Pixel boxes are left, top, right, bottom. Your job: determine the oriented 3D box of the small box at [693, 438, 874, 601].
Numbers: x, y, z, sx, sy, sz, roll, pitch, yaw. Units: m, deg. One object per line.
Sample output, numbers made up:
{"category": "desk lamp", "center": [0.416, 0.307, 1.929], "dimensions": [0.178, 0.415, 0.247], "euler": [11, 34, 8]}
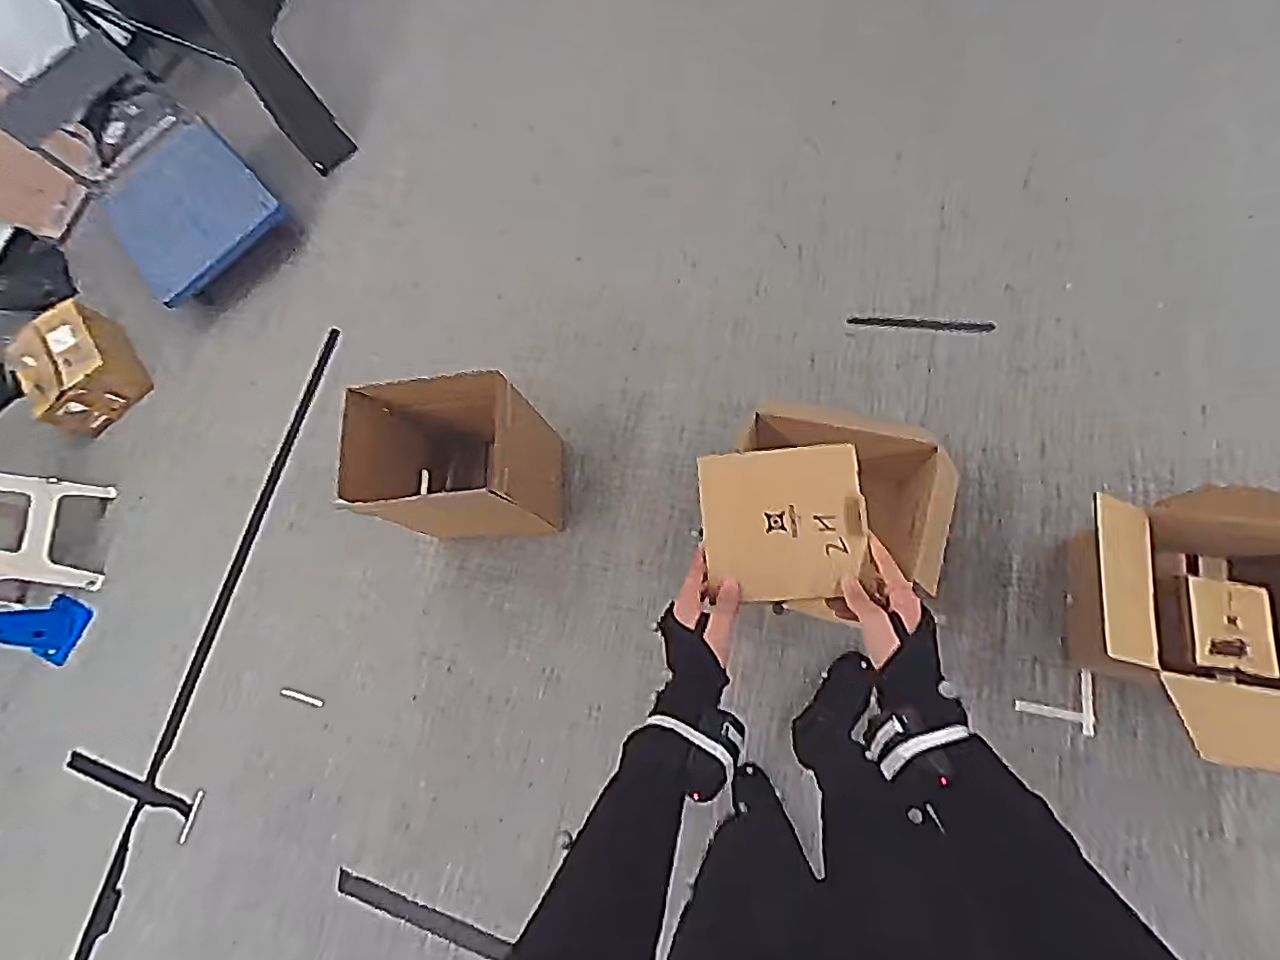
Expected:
{"category": "small box", "center": [0.161, 0.058, 0.659], "dimensions": [0.179, 0.176, 0.168], "euler": [-5, 77, 5]}
